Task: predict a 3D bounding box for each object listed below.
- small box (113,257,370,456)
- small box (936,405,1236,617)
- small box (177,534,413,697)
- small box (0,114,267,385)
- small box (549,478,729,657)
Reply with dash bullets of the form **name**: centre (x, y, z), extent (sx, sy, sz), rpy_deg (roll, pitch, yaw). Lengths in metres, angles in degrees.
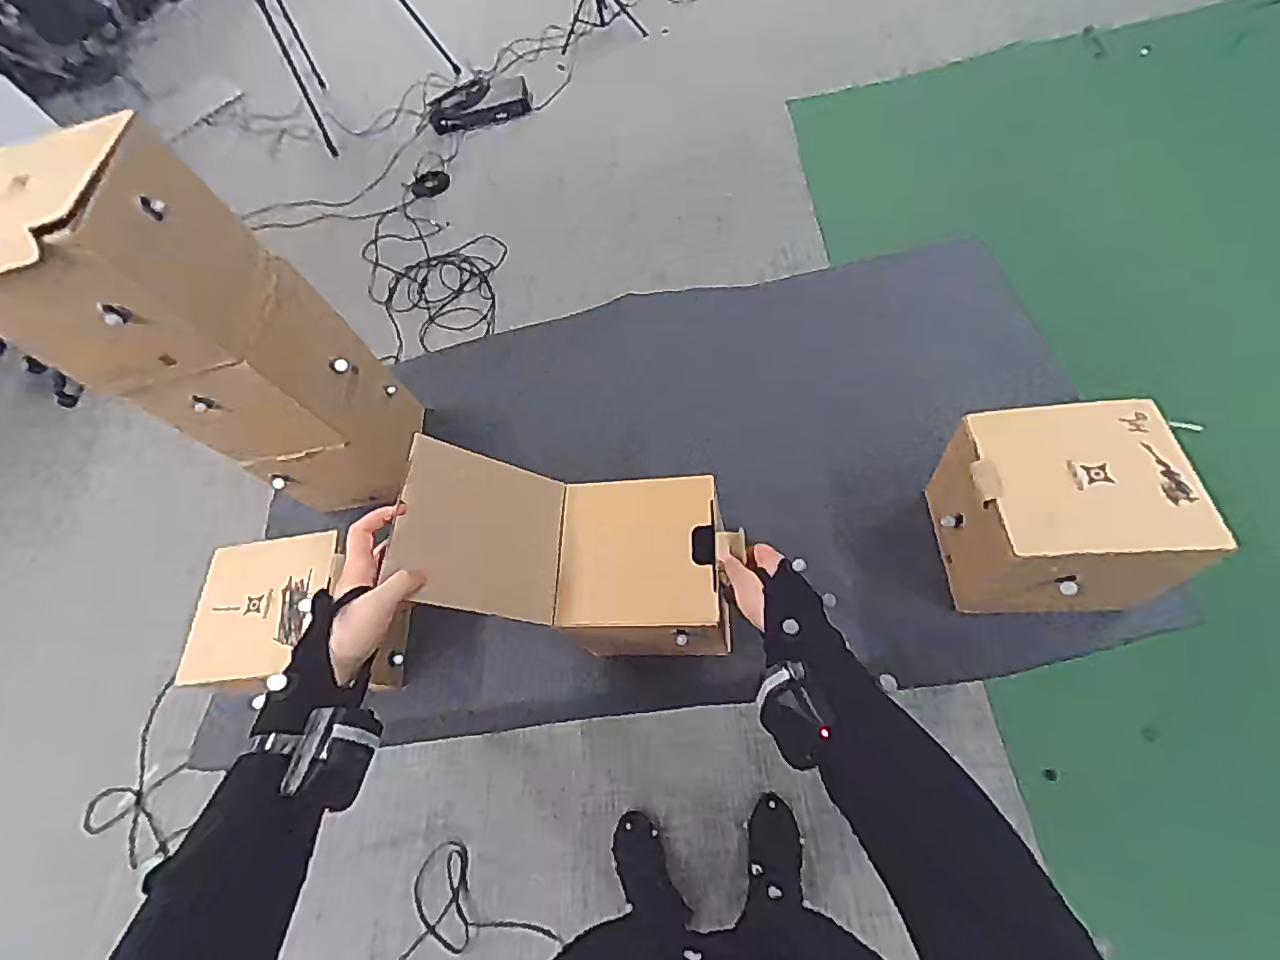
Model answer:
- **small box**: centre (-0.481, -0.144, 0.684), extent (0.179, 0.176, 0.168), rpy_deg (-9, 63, 7)
- **small box**: centre (0.436, 0.042, 0.576), extent (0.179, 0.176, 0.168), rpy_deg (-4, 59, 11)
- **small box**: centre (-0.421, 0.181, 0.695), extent (0.179, 0.176, 0.168), rpy_deg (-8, 62, 8)
- **small box**: centre (-0.518, -0.214, 0.542), extent (0.168, 0.176, 0.179), rpy_deg (-12, 61, 4)
- **small box**: centre (0.010, 0.112, 0.641), extent (0.179, 0.176, 0.168), rpy_deg (-4, 62, 10)
